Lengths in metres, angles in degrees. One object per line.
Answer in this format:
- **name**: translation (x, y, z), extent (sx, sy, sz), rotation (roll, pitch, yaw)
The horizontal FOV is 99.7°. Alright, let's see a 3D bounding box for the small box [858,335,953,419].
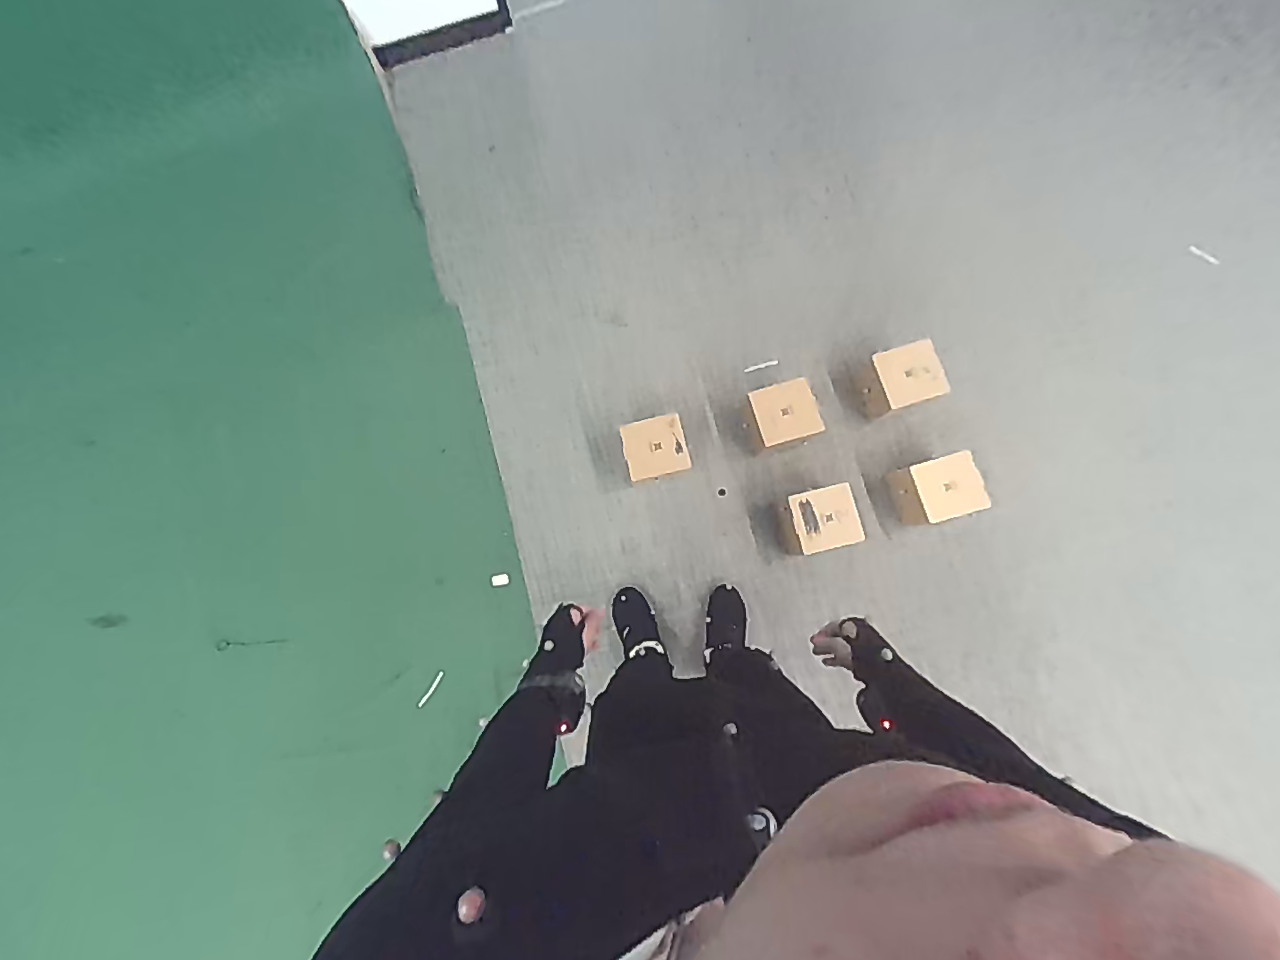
- **small box**: translation (0.755, -0.290, 1.565), extent (0.179, 0.176, 0.168), rotation (-17, 82, 0)

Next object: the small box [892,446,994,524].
- **small box**: translation (0.837, 0.022, 1.521), extent (0.179, 0.176, 0.168), rotation (-17, 81, -1)

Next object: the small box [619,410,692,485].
- **small box**: translation (0.048, -0.087, 1.571), extent (0.179, 0.176, 0.168), rotation (-13, 82, 2)

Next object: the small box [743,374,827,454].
- **small box**: translation (0.413, -0.185, 1.568), extent (0.179, 0.176, 0.168), rotation (-16, 81, 1)
